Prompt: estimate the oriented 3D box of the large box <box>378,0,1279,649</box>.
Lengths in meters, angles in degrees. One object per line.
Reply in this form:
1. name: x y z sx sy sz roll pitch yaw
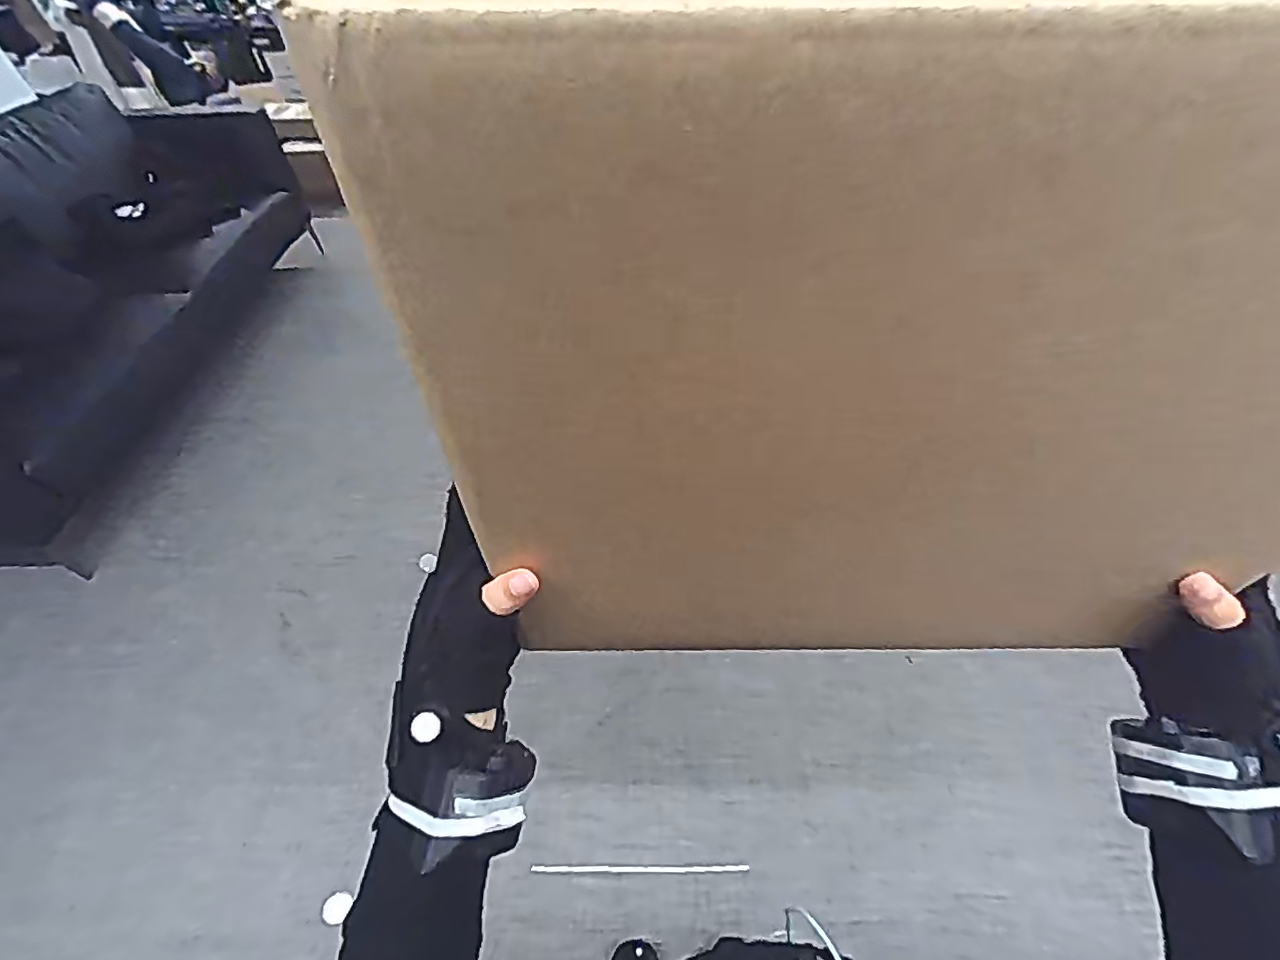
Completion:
1. large box: 0.128 -0.107 0.336 0.408 0.320 0.320 0 48 -2
